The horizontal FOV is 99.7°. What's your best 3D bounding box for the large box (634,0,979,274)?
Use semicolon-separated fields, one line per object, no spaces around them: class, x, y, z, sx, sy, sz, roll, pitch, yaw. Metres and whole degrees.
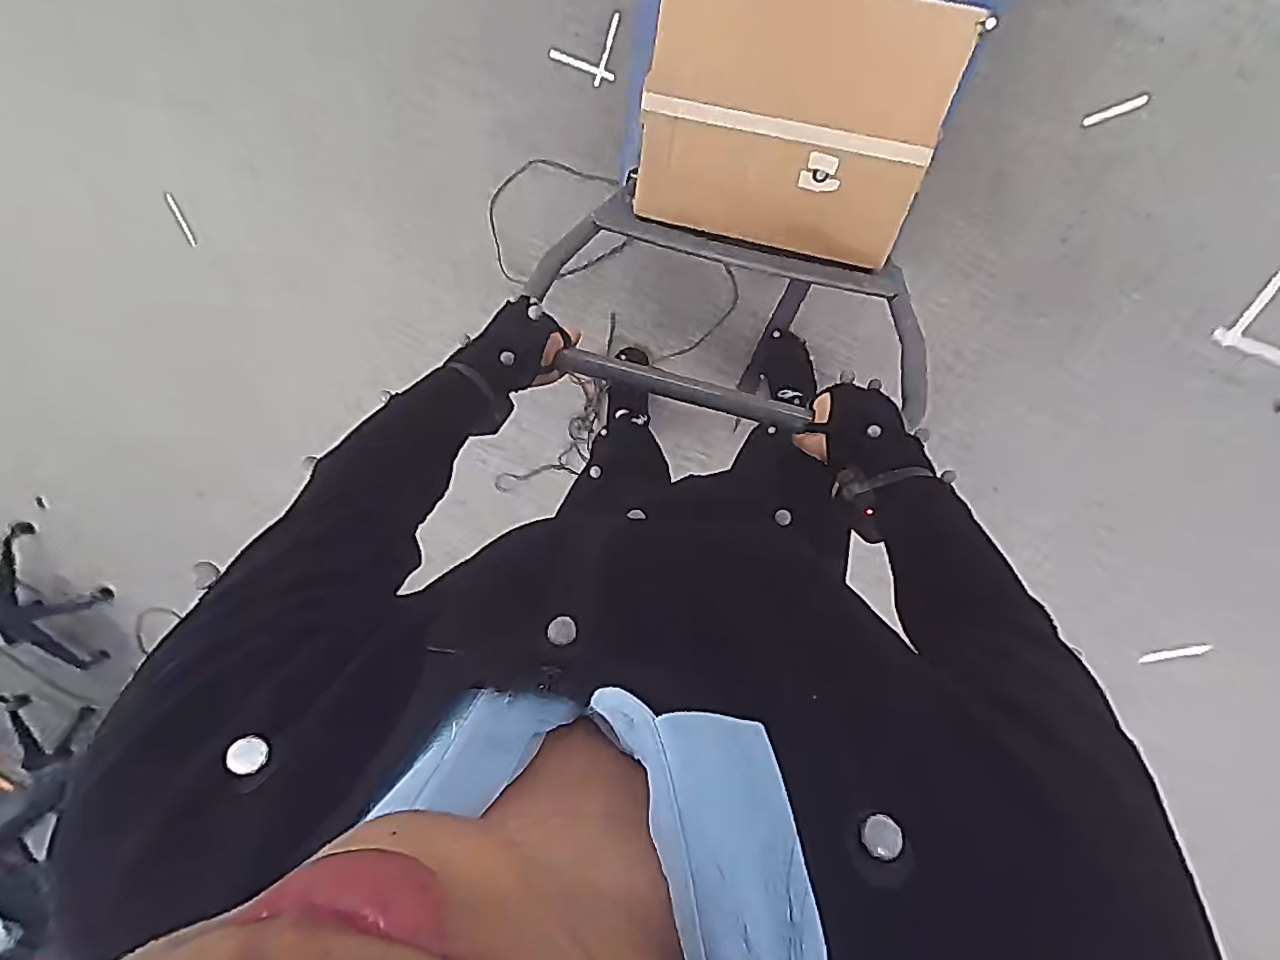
large box;0.230;-0.569;0.879;0.408;0.320;0.320;14;129;4
